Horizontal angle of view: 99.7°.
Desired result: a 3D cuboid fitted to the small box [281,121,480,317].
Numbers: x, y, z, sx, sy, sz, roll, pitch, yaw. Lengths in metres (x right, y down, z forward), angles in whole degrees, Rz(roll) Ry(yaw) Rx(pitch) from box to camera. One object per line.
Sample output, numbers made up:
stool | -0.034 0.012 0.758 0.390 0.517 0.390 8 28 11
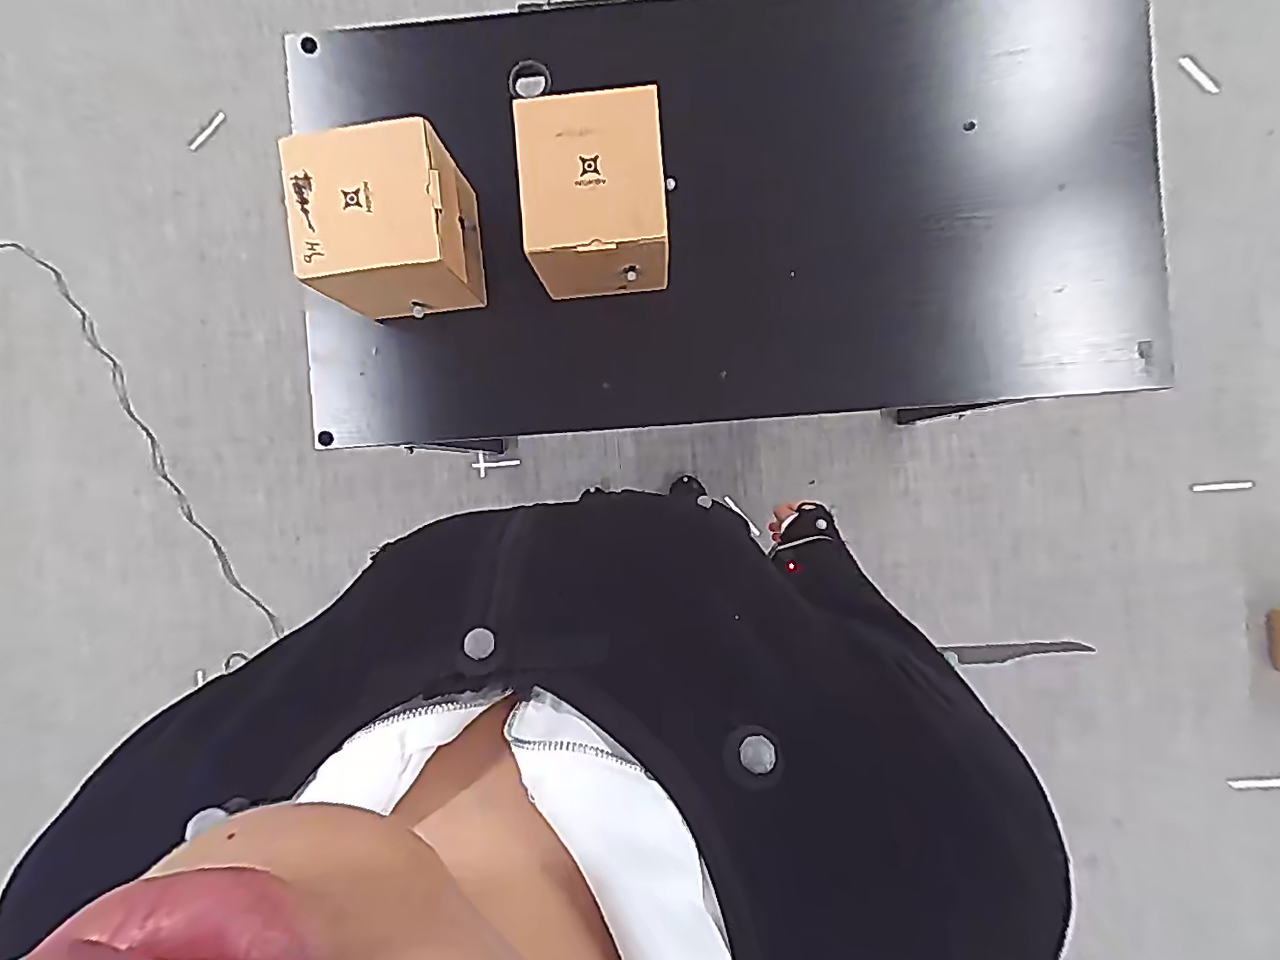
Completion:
small box | -0.316 -0.322 0.697 0.179 0.176 0.168 -6 90 0

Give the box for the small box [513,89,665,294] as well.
small box | -0.055 -0.350 0.692 0.168 0.176 0.179 -5 89 1

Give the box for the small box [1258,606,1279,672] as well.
small box | 1.743 0.419 1.373 0.168 0.176 0.179 -4 91 3
